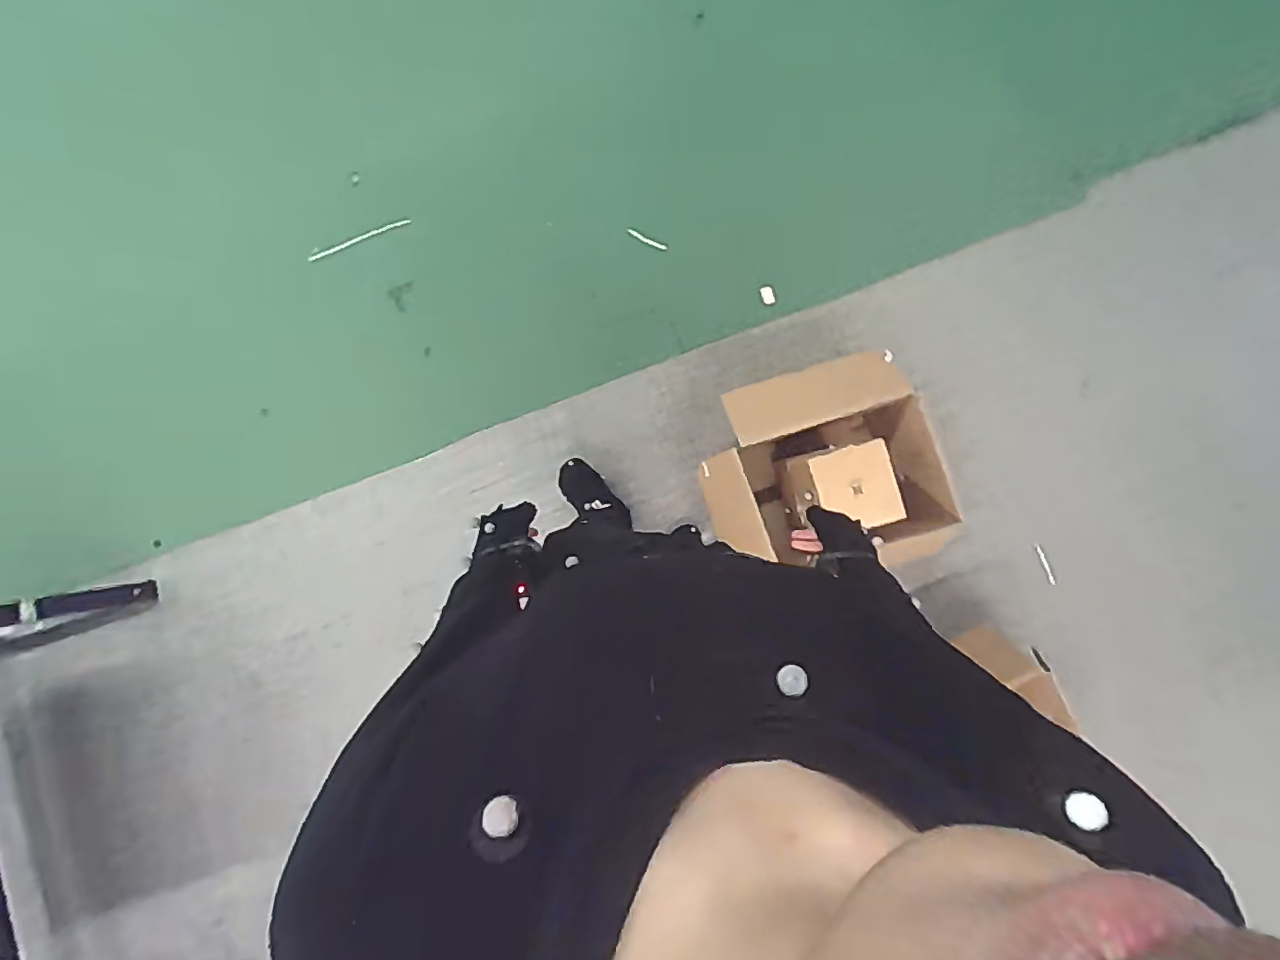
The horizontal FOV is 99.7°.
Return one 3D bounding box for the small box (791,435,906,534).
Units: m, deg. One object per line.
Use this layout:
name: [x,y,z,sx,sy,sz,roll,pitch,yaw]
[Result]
small box: [0.458,0.011,1.210,0.168,0.176,0.179,-16,87,1]
